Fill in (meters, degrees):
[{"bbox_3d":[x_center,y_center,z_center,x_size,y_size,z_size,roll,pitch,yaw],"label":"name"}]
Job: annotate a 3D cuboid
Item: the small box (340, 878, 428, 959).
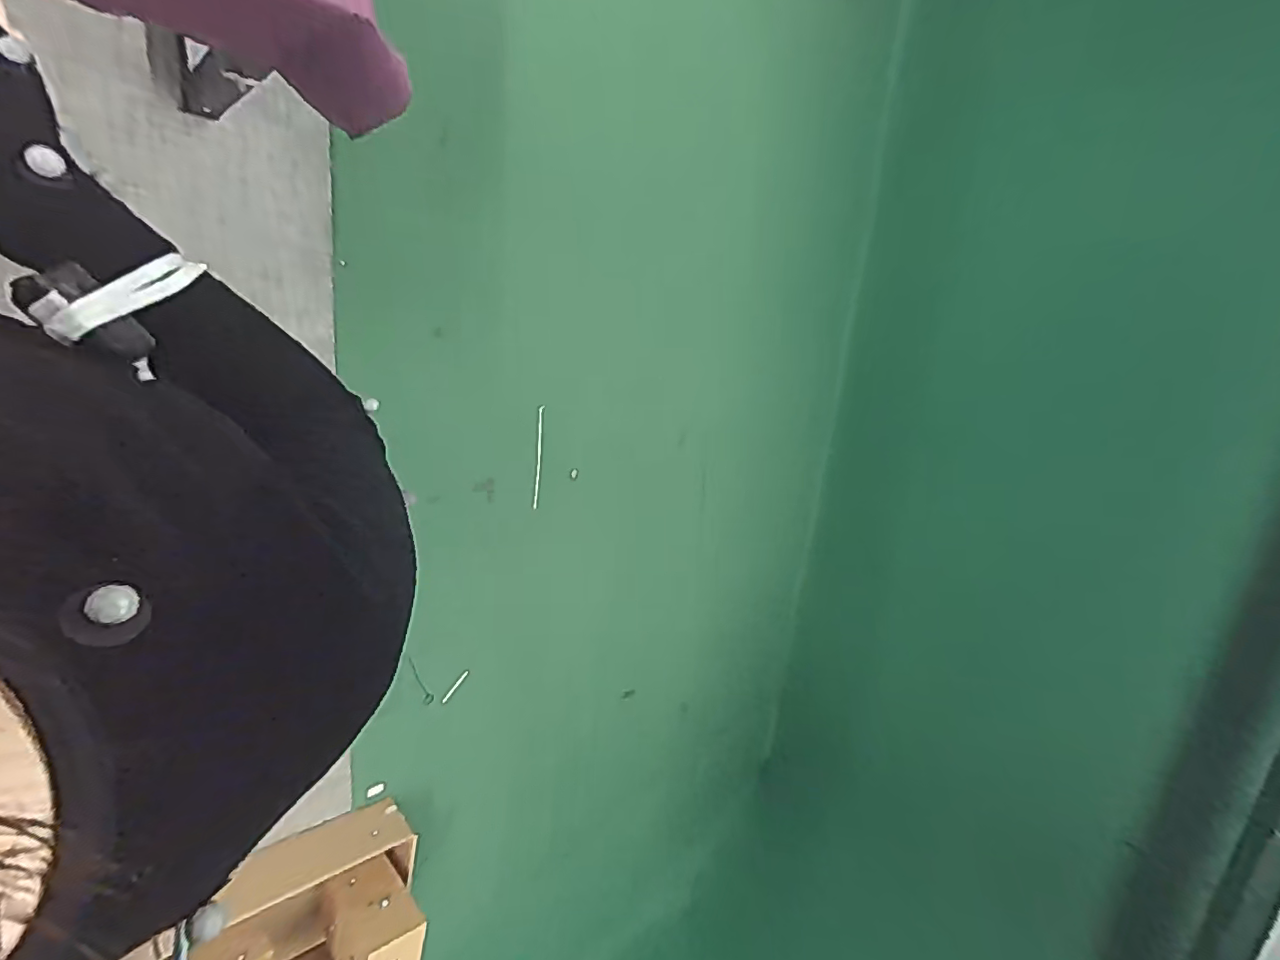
[{"bbox_3d":[-0.736,1.304,1.546,0.168,0.176,0.179,7,97,-49],"label":"small box"}]
